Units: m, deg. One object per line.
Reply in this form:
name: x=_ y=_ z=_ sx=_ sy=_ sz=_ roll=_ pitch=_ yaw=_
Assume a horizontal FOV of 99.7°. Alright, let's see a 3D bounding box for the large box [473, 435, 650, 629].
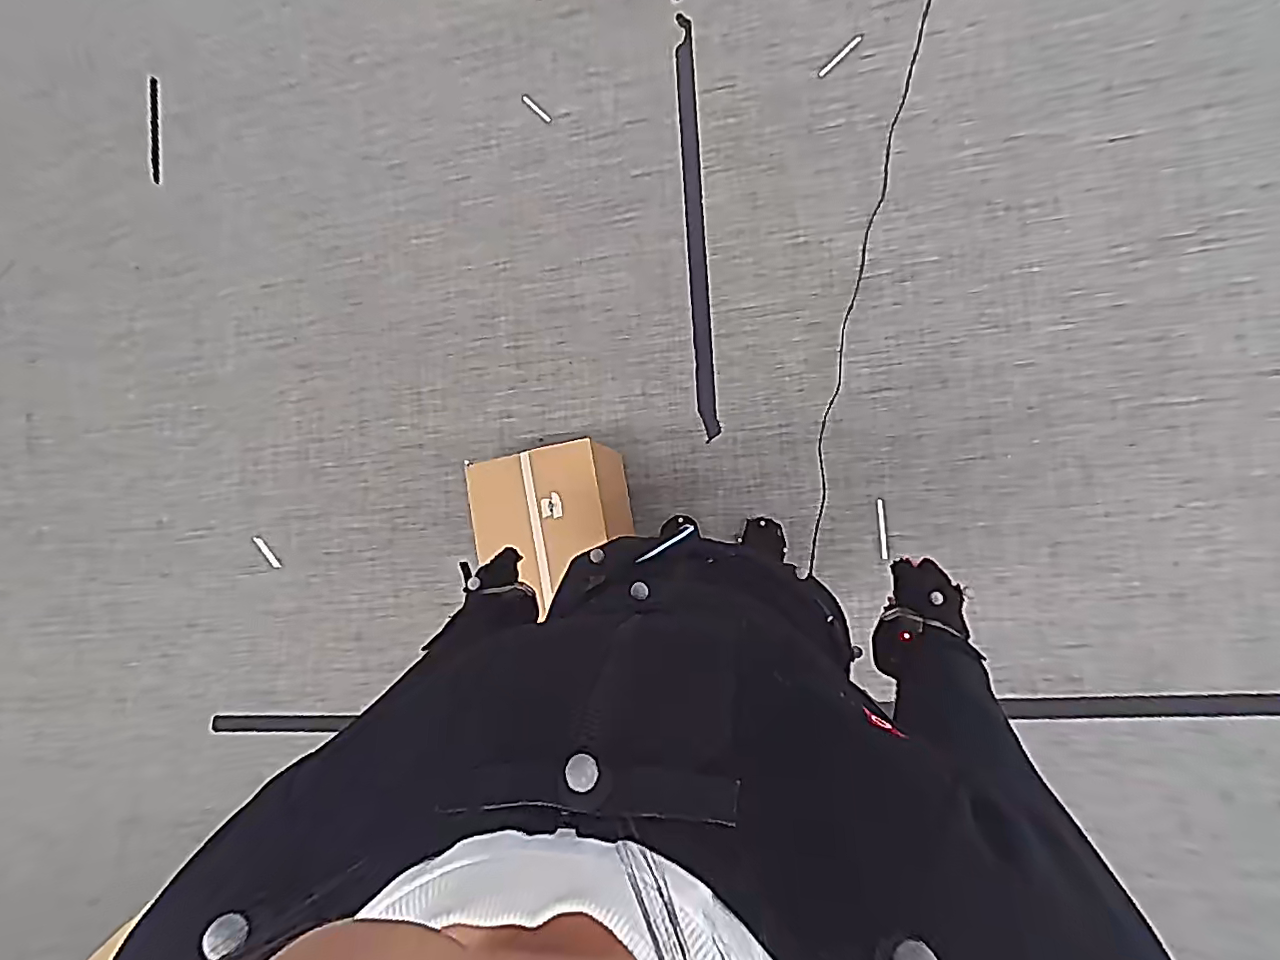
large box: x=-0.183 y=0.133 z=1.378 sx=0.320 sy=0.320 sz=0.408 roll=-11 pitch=83 yaw=10
